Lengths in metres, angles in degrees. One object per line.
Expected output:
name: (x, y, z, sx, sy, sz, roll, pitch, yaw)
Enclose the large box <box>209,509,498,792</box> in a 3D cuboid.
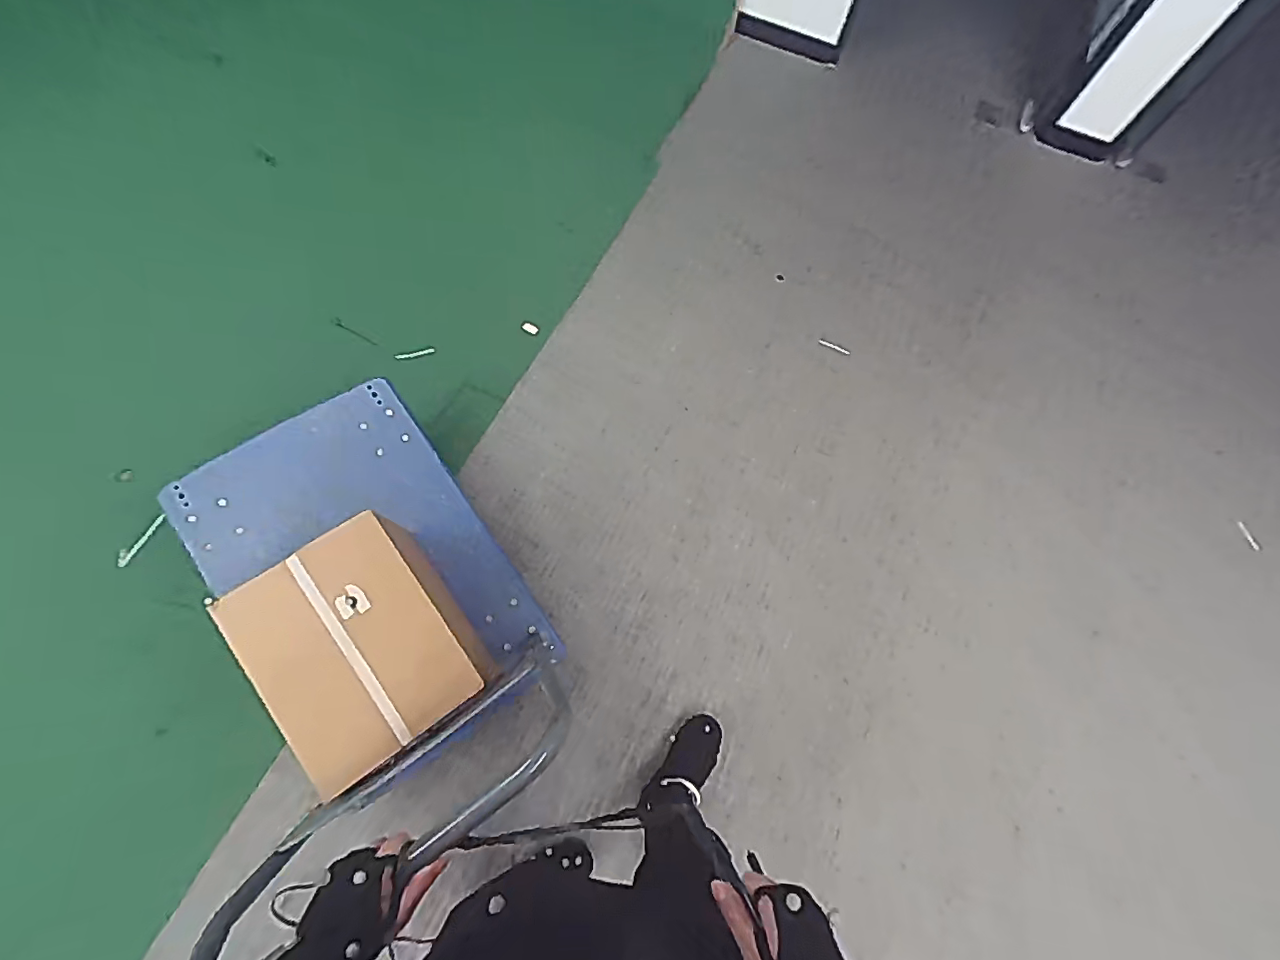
large box: (-0.546, 0.328, 1.115, 0.320, 0.320, 0.408, -34, 84, -16)
